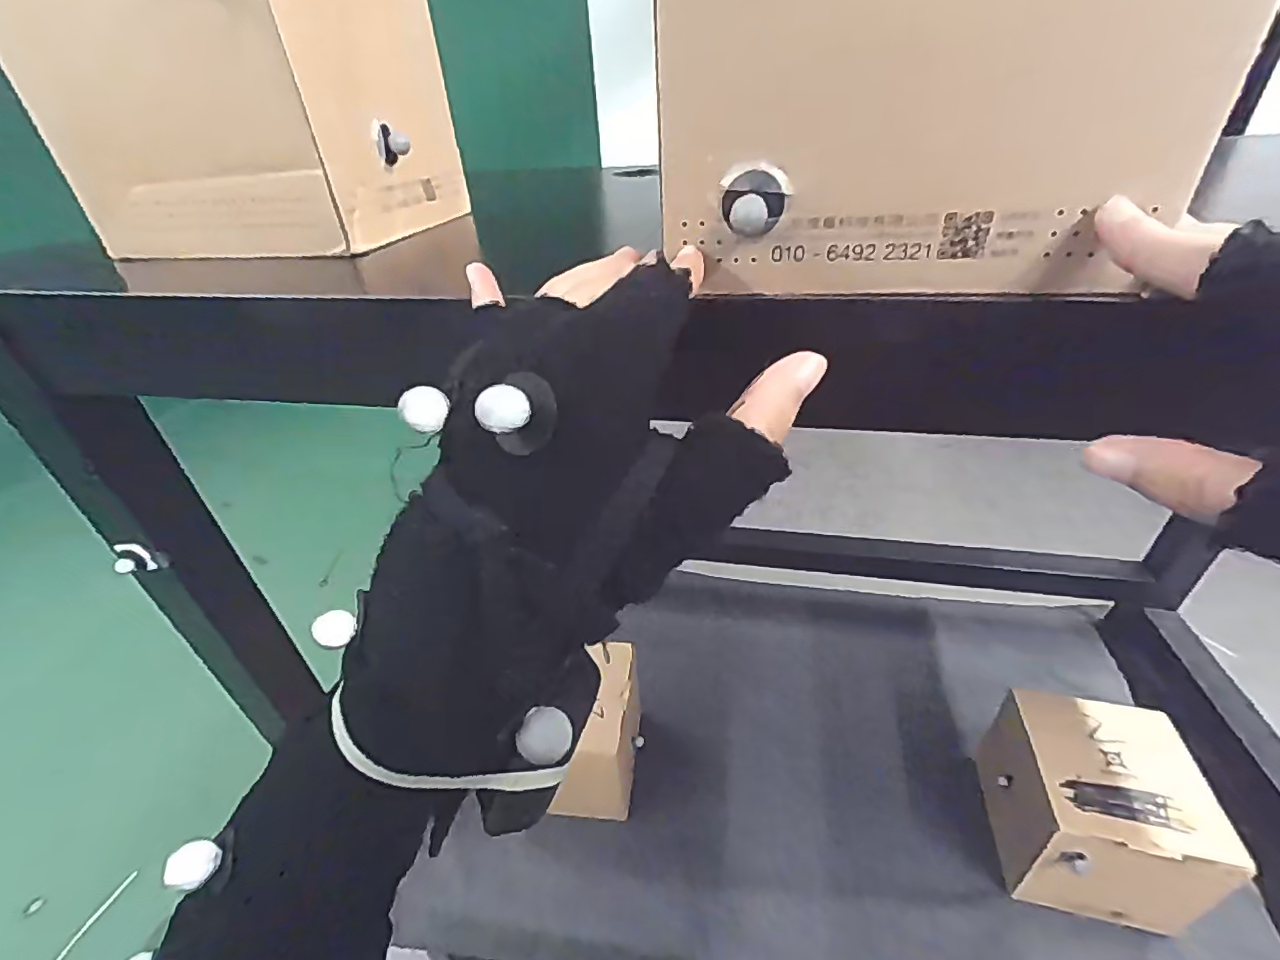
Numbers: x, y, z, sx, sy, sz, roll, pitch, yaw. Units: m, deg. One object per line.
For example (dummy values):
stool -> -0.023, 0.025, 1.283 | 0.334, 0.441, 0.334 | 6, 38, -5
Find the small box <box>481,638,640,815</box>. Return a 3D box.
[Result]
small box -> -0.100, 0.349, 0.770 | 0.179, 0.176, 0.168 | 2, 35, 8
